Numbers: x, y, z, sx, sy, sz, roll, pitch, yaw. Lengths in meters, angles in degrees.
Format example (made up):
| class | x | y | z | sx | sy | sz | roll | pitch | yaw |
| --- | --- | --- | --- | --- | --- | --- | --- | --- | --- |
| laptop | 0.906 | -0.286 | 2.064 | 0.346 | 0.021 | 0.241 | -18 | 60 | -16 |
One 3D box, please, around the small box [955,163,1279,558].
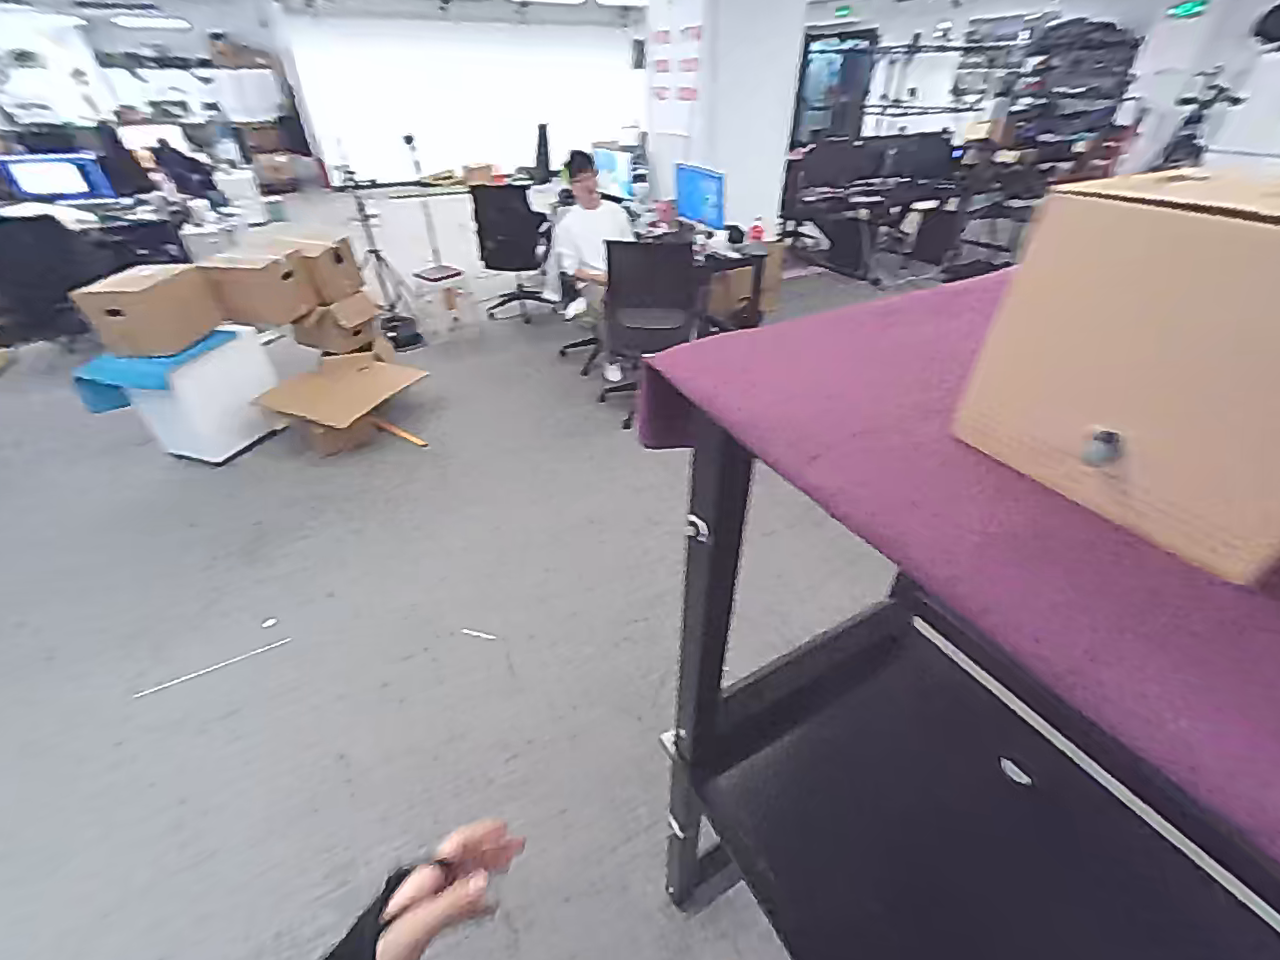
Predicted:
| class | x | y | z | sx | sy | sz | roll | pitch | yaw |
| --- | --- | --- | --- | --- | --- | --- | --- | --- | --- |
| small box | 0.338 | -0.075 | 0.322 | 0.168 | 0.176 | 0.179 | -18 | 41 | -22 |
